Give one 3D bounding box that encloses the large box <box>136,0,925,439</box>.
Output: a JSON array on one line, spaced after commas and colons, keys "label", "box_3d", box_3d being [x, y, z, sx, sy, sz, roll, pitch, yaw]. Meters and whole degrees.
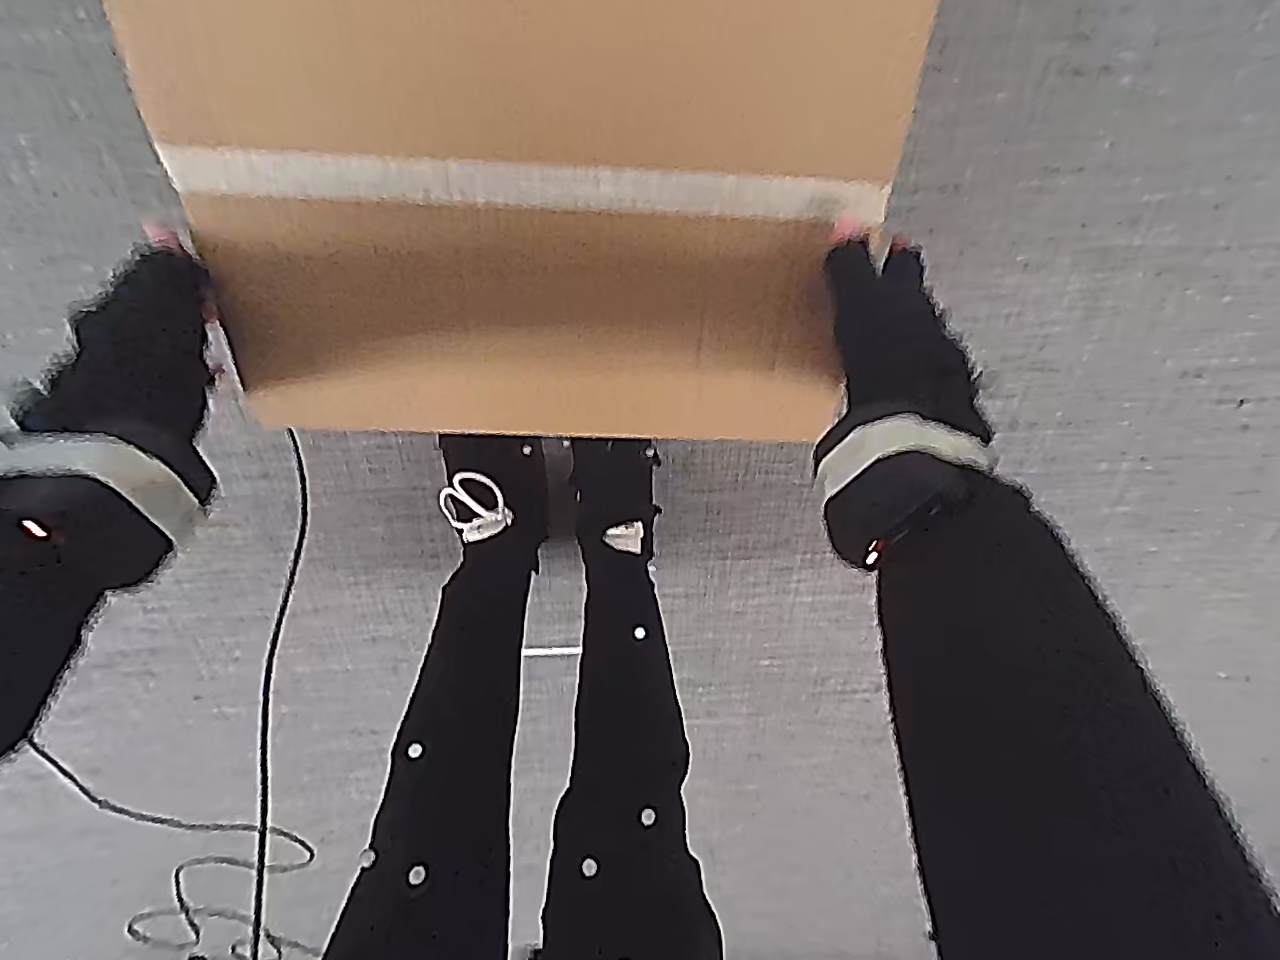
[{"label": "large box", "box_3d": [-0.063, -0.239, 0.446, 0.408, 0.320, 0.320, 1, 121, -4]}]
